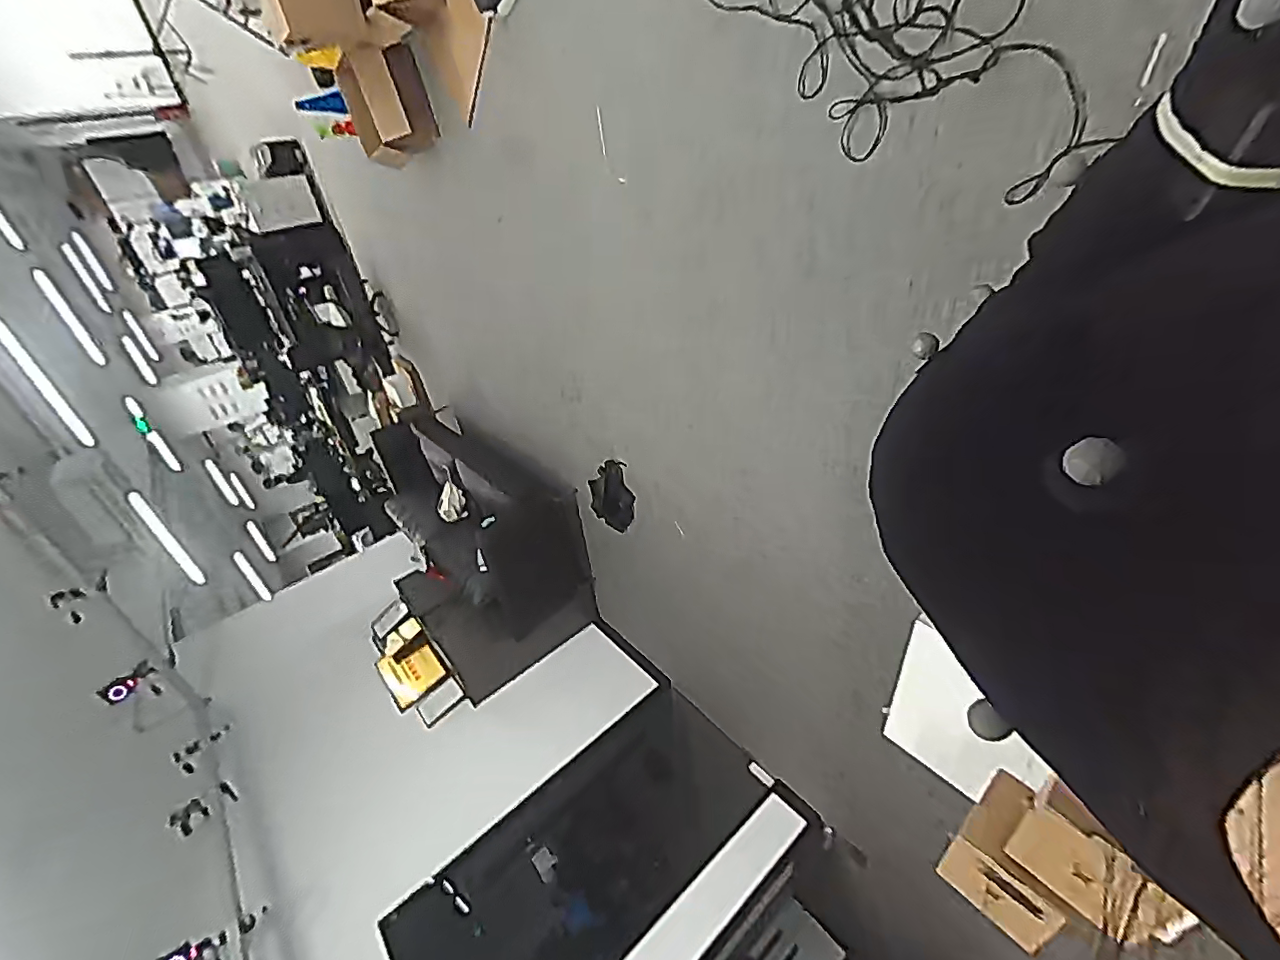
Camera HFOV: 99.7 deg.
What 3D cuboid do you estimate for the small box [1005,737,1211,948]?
[{"bbox_3d":[0.693,0.528,0.806,0.168,0.176,0.179,34,143,41],"label":"small box"}]
